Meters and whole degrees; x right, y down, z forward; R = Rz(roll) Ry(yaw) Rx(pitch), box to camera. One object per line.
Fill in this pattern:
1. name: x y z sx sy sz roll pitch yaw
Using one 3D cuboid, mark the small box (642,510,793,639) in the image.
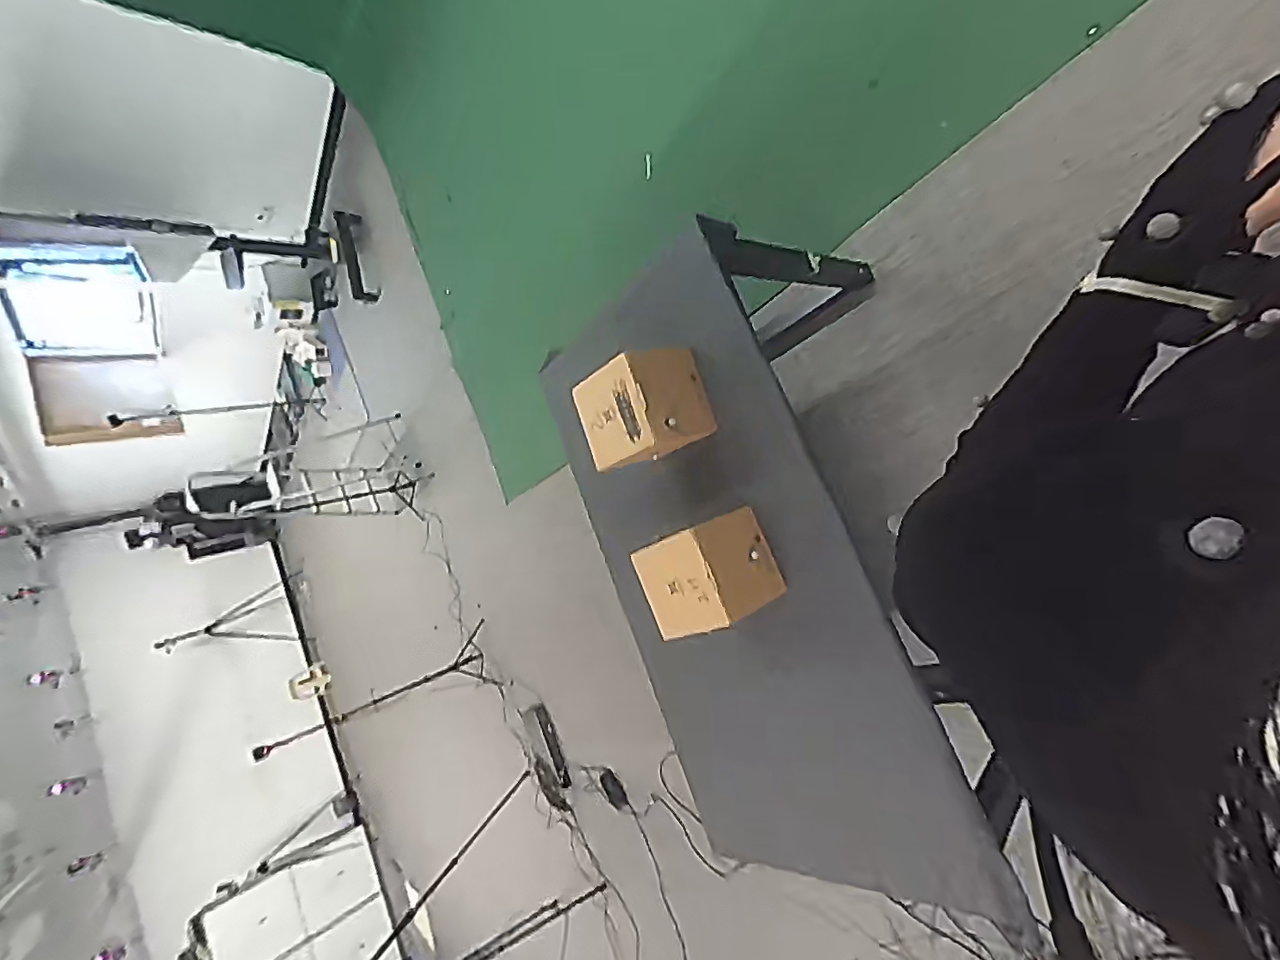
1. small box: 0.139 0.169 0.976 0.179 0.176 0.168 -33 77 47
